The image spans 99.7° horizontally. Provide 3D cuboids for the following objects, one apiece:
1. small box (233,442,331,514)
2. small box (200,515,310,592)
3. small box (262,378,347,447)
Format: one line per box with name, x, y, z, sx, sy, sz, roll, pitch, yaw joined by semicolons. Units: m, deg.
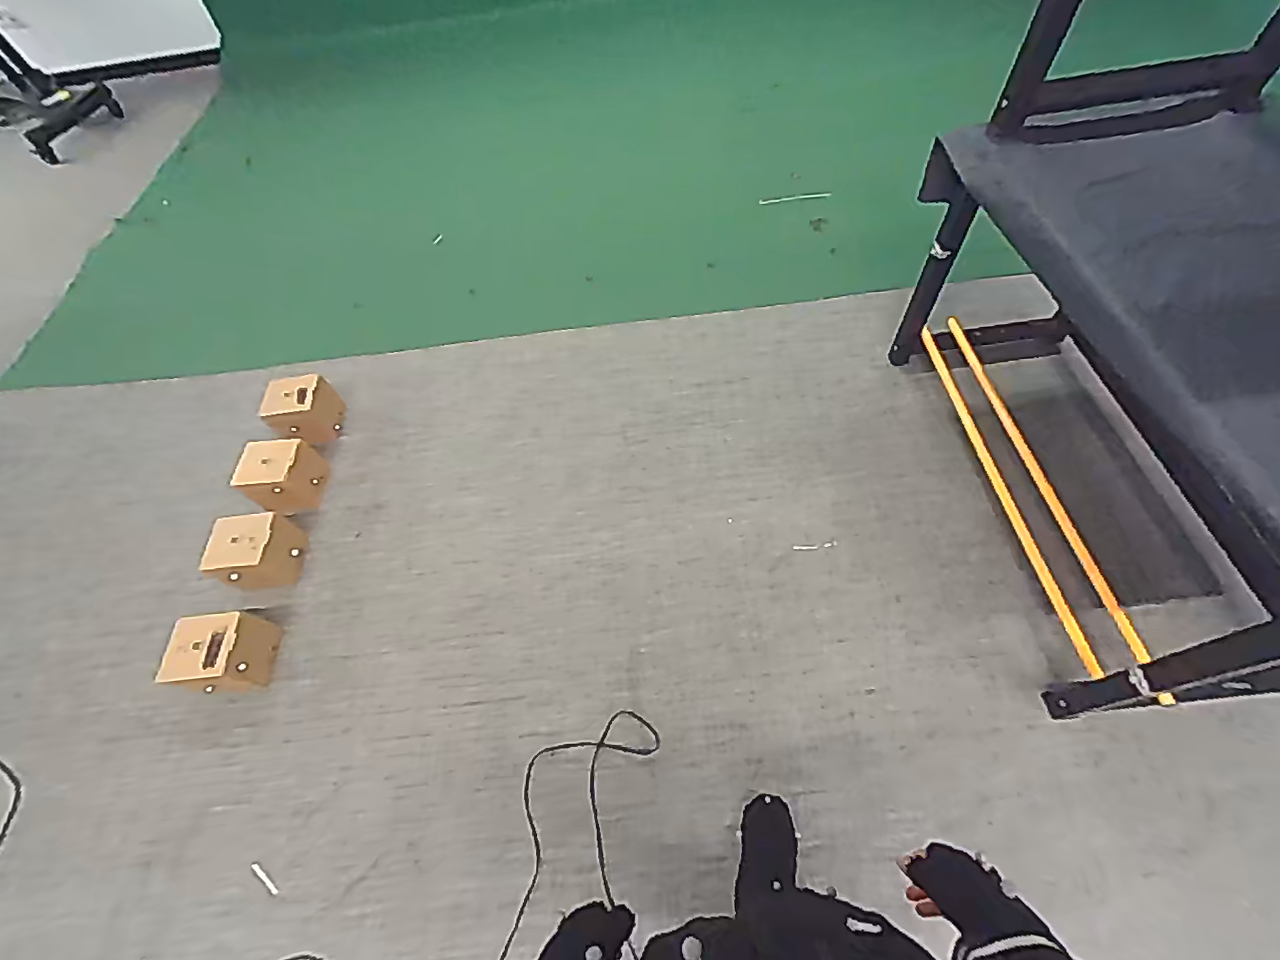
small box;-1.136;-0.002;1.732;0.179;0.176;0.168;-5;57;2
small box;-1.117;0.221;1.585;0.179;0.176;0.168;-6;58;1
small box;-1.155;-0.228;1.877;0.179;0.176;0.168;-8;57;1
